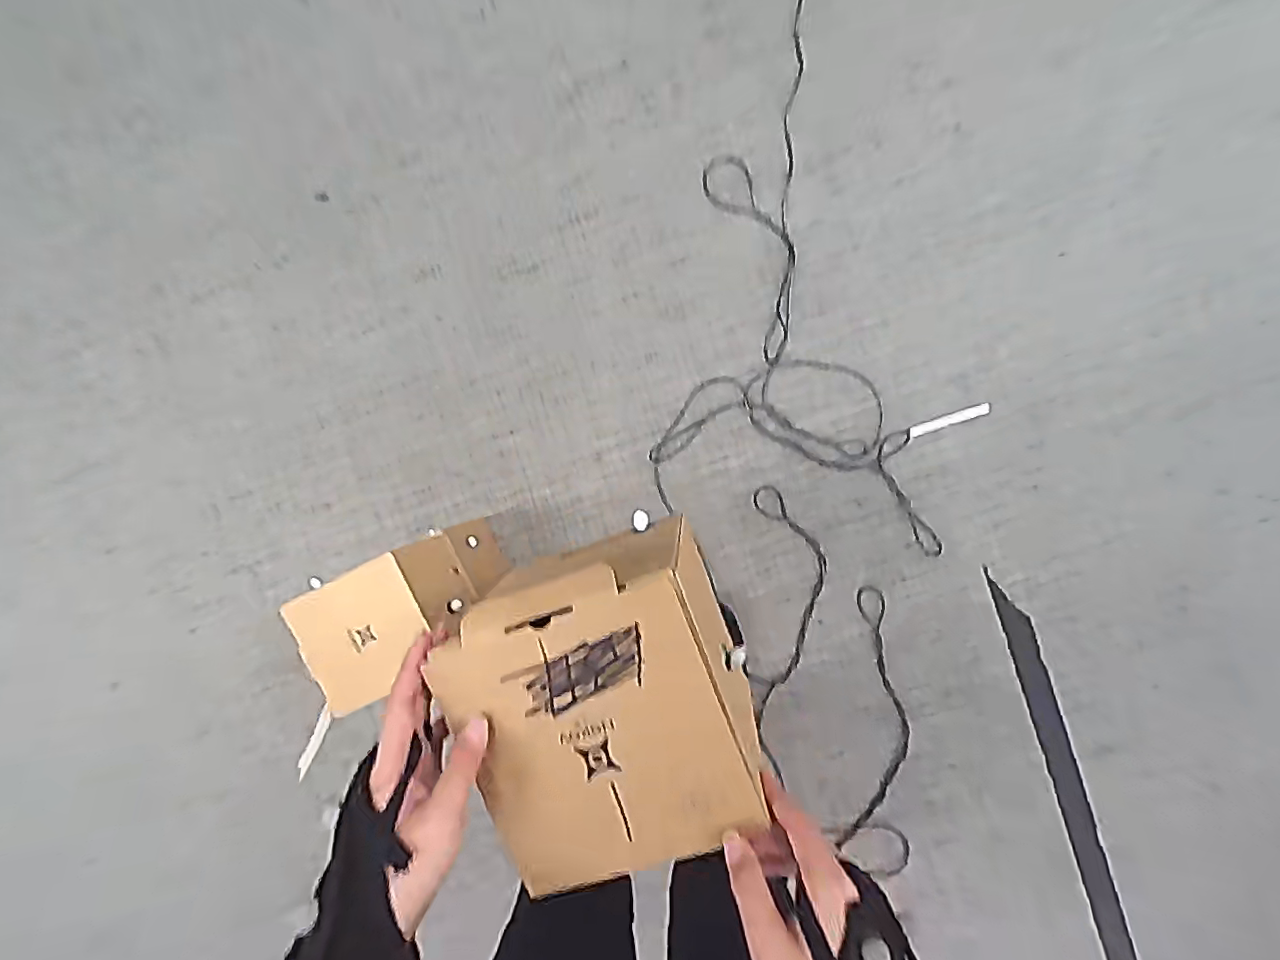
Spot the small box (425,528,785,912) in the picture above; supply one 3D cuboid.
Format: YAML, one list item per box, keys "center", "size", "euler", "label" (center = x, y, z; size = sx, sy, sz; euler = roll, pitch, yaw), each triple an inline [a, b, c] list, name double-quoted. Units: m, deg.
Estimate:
- center: [-0.015, 0.145, 0.390]
  size: [0.168, 0.176, 0.179]
  euler: [-20, 97, 8]
  label: "small box"

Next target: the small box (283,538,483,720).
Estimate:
- center: [-0.342, 0.197, 0.767]
  size: [0.179, 0.176, 0.168]
  euler: [-27, 90, 6]
  label: "small box"
